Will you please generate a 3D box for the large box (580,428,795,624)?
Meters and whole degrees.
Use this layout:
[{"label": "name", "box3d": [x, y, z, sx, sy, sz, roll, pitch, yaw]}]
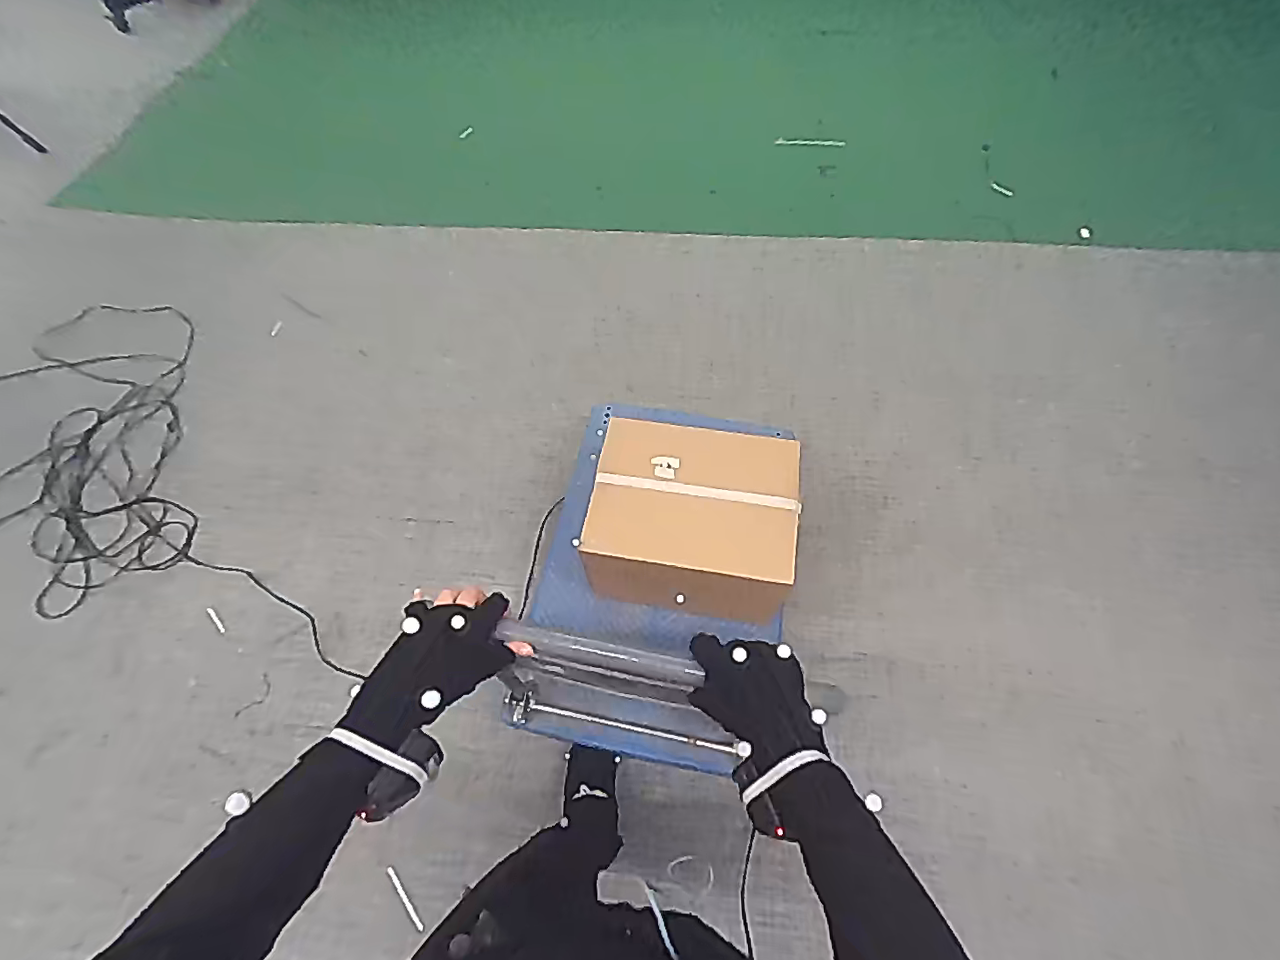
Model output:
[{"label": "large box", "box3d": [0.114, 0.112, 1.211, 0.408, 0.320, 0.320, 8, 61, 8]}]
